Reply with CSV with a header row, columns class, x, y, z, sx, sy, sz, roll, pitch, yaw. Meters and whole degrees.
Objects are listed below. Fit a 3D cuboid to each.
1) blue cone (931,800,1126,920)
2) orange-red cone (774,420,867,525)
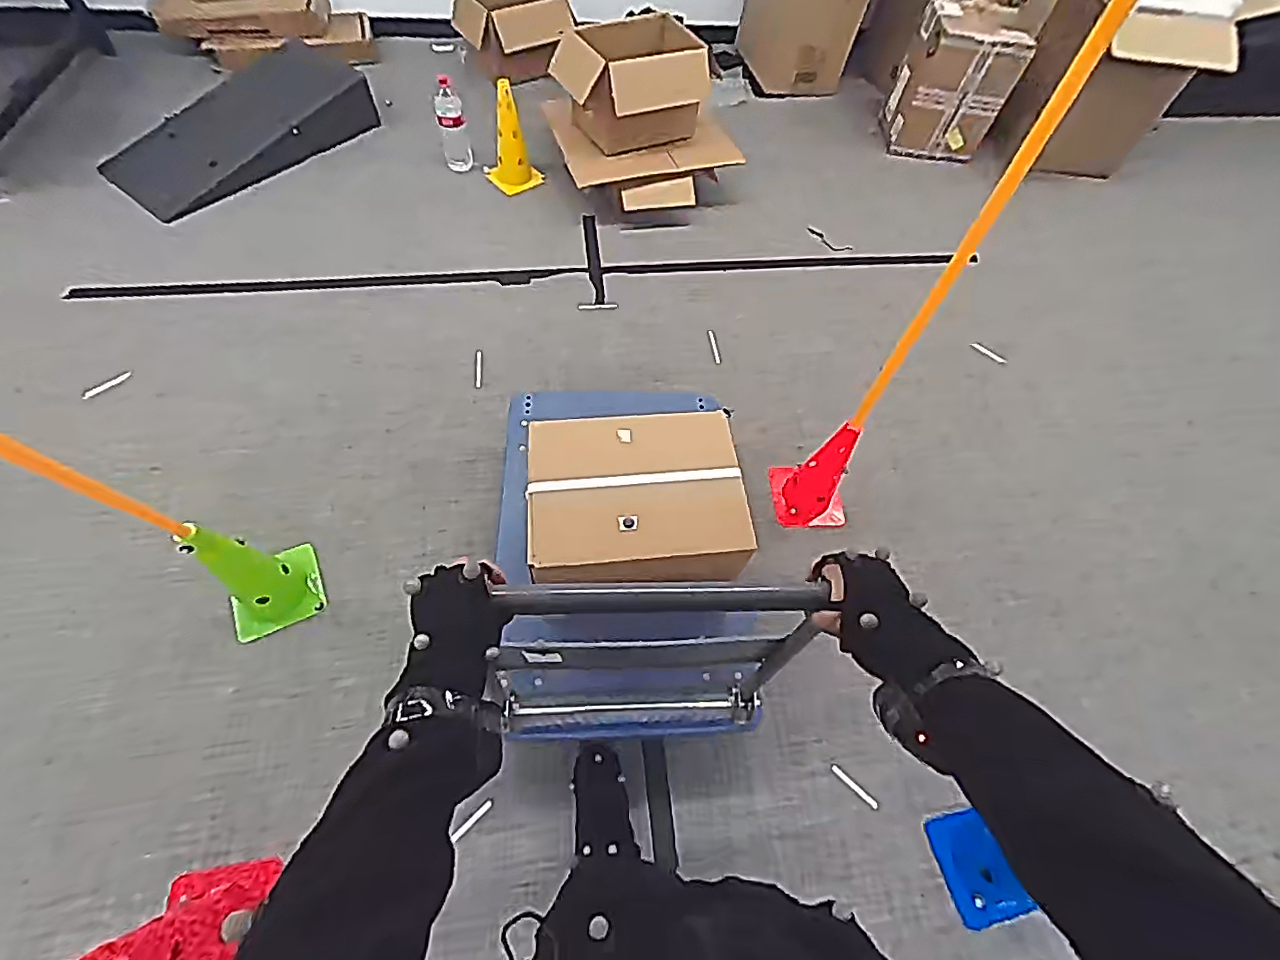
class,x,y,z,sx,sy,sz,roll,pitch,yaw
blue cone,0.756,0.729,1.023,0.193,0.380,0.192,-8,60,-10
orange-red cone,0.510,-0.044,1.439,0.199,0.360,0.198,2,60,-5
